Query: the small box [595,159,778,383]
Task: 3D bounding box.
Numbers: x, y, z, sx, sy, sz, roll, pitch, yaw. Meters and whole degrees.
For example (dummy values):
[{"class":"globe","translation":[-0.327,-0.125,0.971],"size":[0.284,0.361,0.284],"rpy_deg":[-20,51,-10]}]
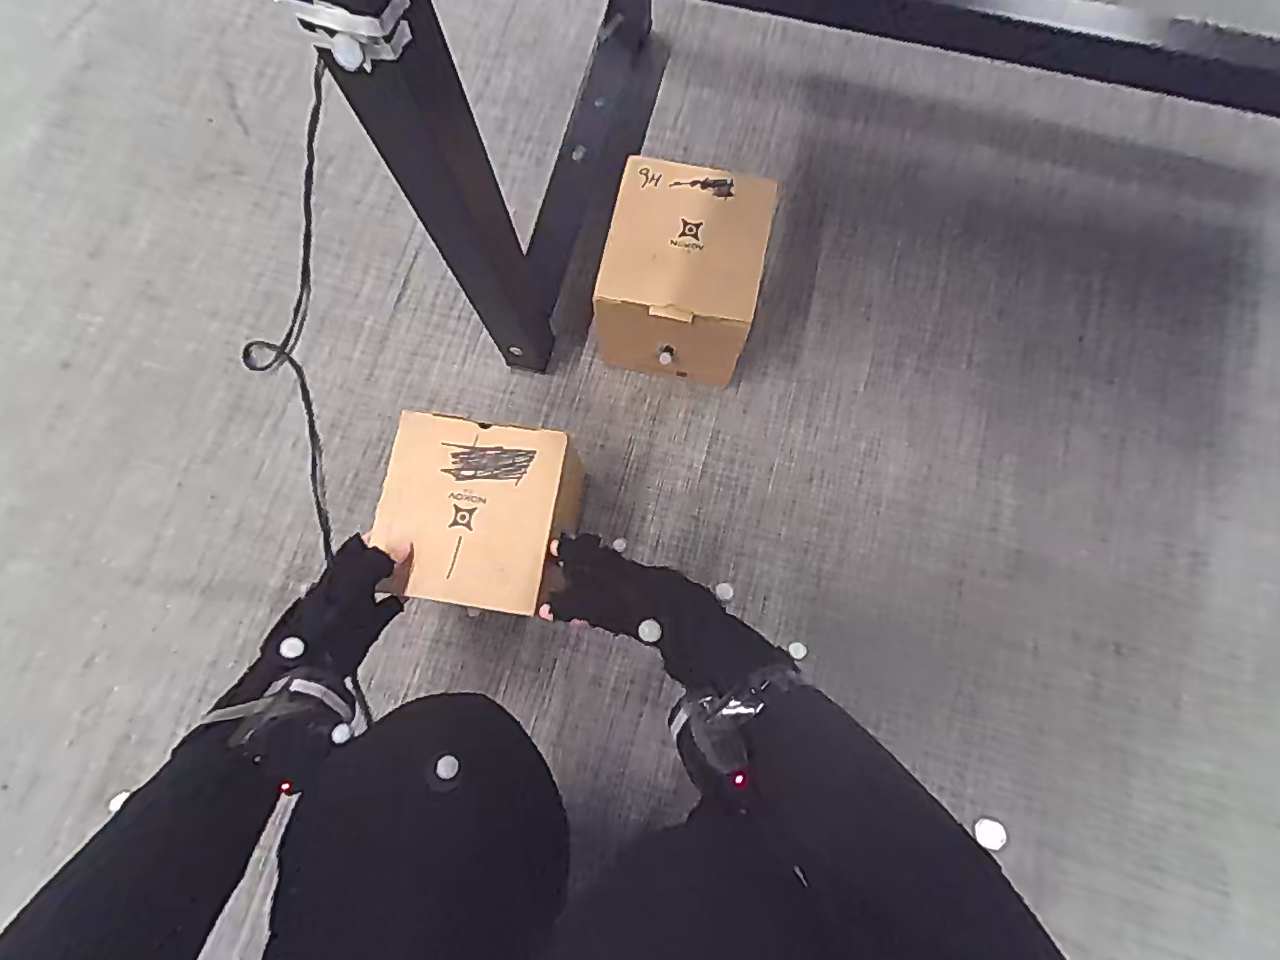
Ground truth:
[{"class":"small box","translation":[0.053,-0.234,0.645],"size":[0.168,0.176,0.179],"rpy_deg":[12,78,3]}]
